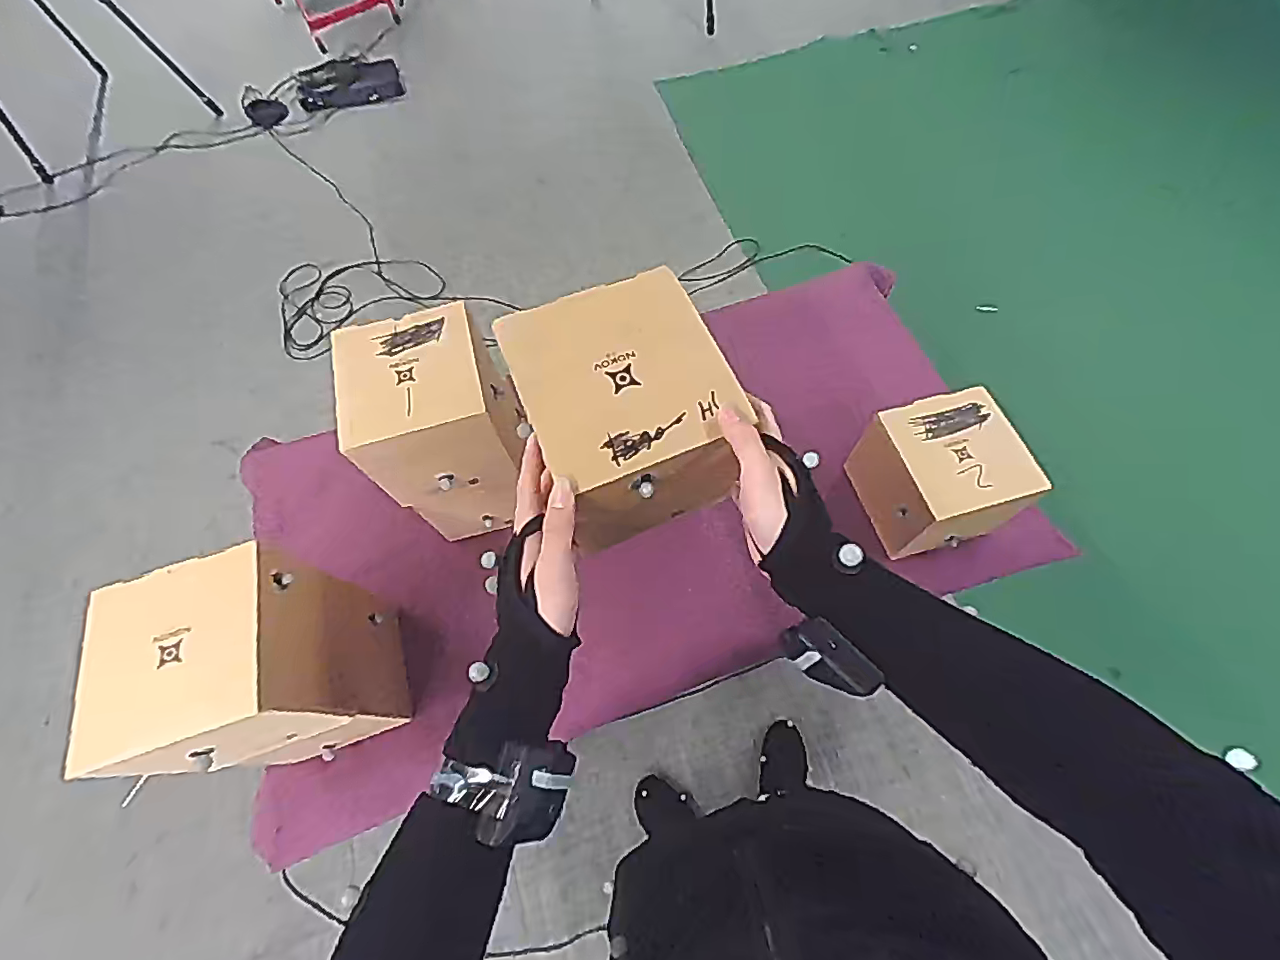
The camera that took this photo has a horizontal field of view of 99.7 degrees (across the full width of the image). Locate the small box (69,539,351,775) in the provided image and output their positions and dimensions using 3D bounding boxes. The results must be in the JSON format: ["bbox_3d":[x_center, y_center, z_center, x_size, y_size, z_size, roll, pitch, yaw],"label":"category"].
[{"bbox_3d":[-0.433,0.191,0.577,0.168,0.176,0.179,-18,63,-5],"label":"small box"}]

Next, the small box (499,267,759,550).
[{"bbox_3d":[-0.014,-0.058,0.508,0.168,0.176,0.179,-21,69,-8],"label":"small box"}]

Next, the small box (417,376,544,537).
[{"bbox_3d":[-0.259,-0.032,0.853,0.168,0.176,0.179,-14,66,-4],"label":"small box"}]

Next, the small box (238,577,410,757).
[{"bbox_3d":[-0.432,0.256,0.726,0.168,0.176,0.179,-19,65,-6],"label":"small box"}]

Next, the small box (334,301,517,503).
[{"bbox_3d":[-0.269,-0.095,0.702,0.168,0.176,0.179,-16,66,-5],"label":"small box"}]
